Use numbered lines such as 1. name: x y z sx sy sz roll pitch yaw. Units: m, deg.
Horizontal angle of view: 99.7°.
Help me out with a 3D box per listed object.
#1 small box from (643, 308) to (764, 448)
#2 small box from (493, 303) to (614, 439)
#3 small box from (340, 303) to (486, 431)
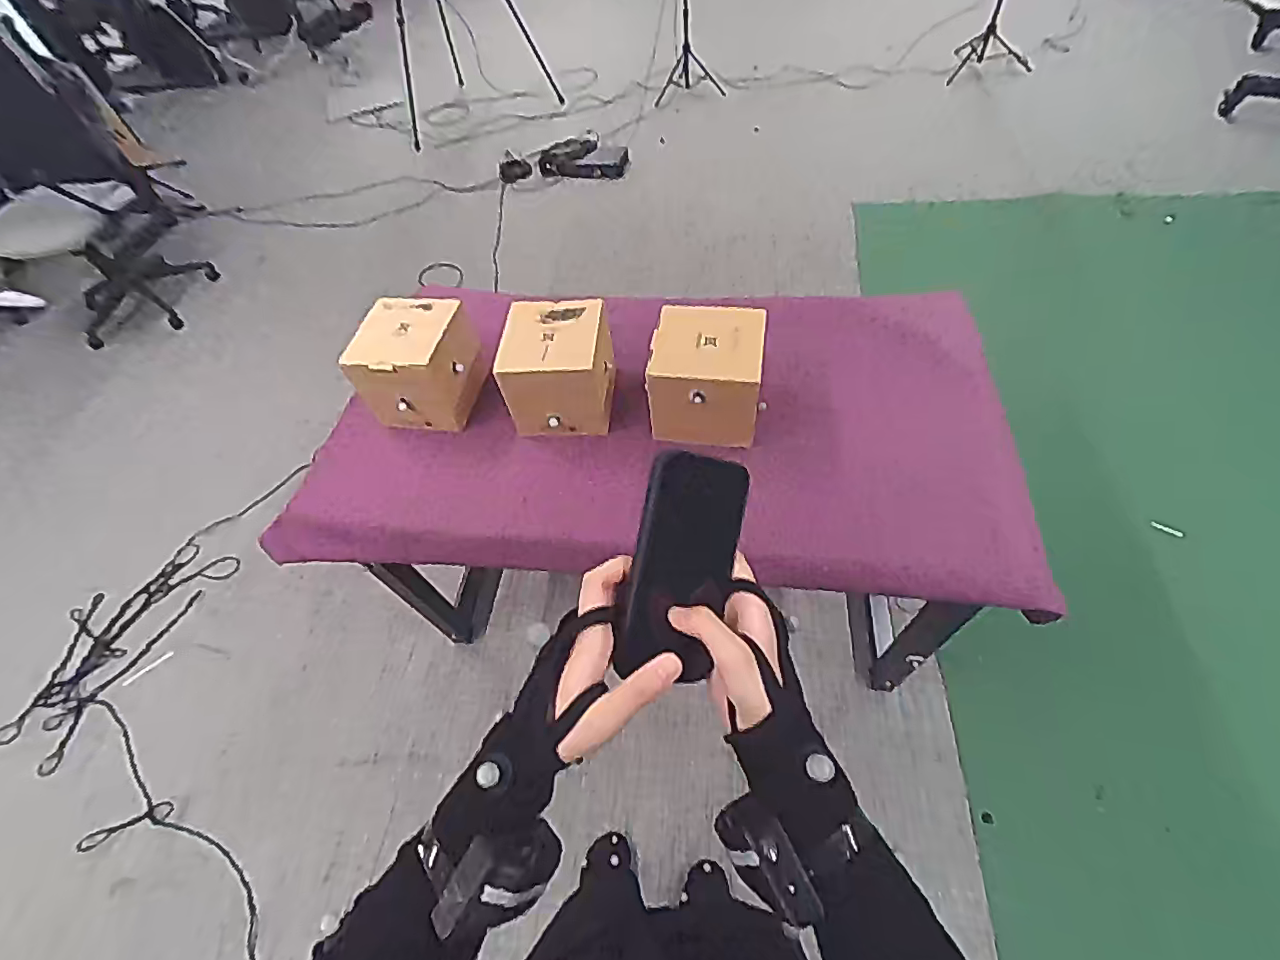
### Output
1. small box: 0.112 -0.170 0.922 0.179 0.176 0.168 6 57 11
2. small box: -0.143 -0.193 0.968 0.168 0.176 0.179 0 56 7
3. small box: -0.408 -0.208 1.010 0.168 0.176 0.179 4 56 10
